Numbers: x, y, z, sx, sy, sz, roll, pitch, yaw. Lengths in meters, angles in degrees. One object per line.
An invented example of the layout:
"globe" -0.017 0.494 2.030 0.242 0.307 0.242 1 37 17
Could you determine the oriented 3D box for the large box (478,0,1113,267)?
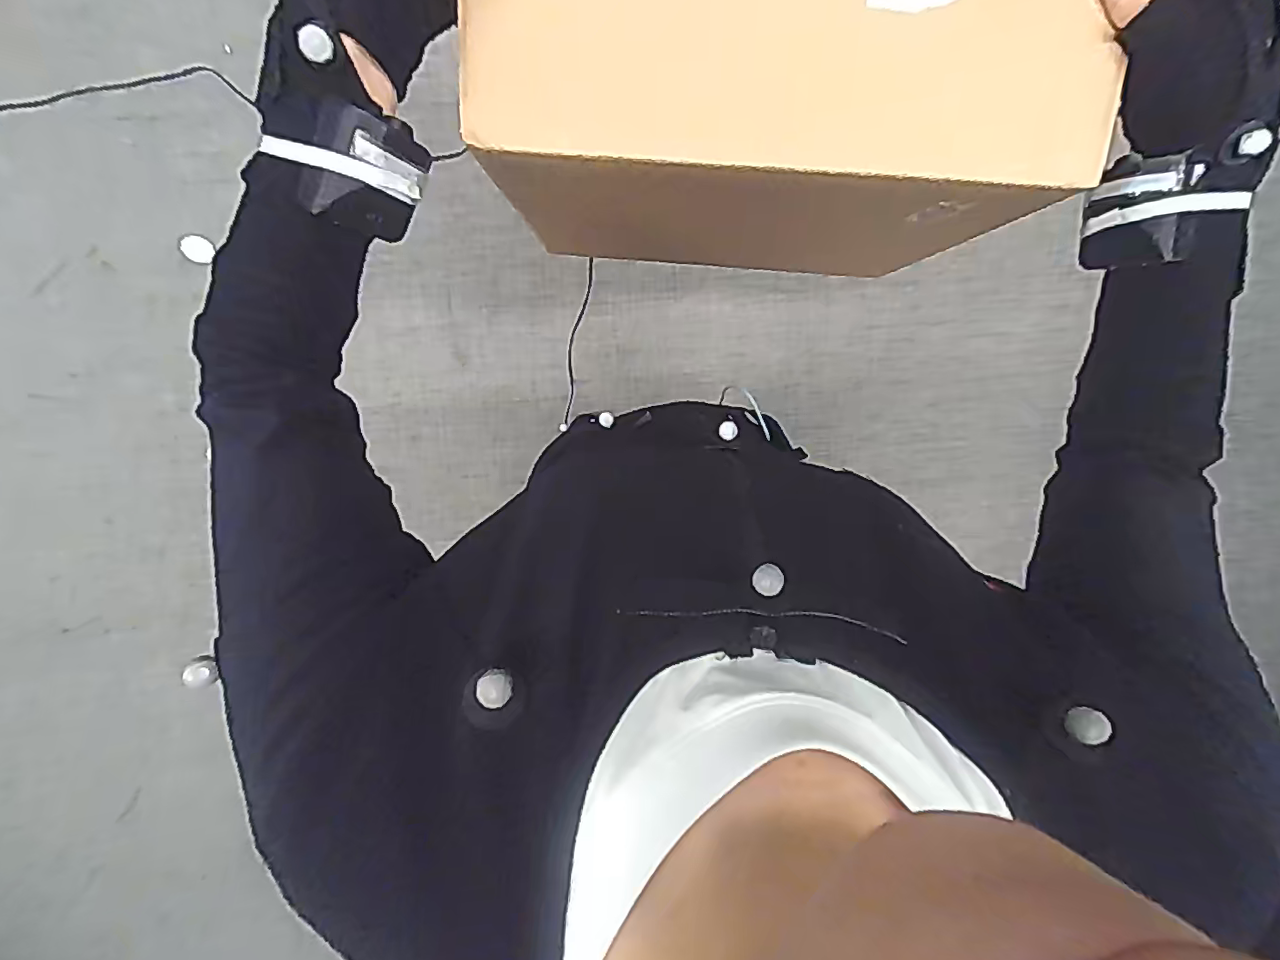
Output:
"large box" 0.097 -0.383 0.473 0.408 0.320 0.320 3 101 0
